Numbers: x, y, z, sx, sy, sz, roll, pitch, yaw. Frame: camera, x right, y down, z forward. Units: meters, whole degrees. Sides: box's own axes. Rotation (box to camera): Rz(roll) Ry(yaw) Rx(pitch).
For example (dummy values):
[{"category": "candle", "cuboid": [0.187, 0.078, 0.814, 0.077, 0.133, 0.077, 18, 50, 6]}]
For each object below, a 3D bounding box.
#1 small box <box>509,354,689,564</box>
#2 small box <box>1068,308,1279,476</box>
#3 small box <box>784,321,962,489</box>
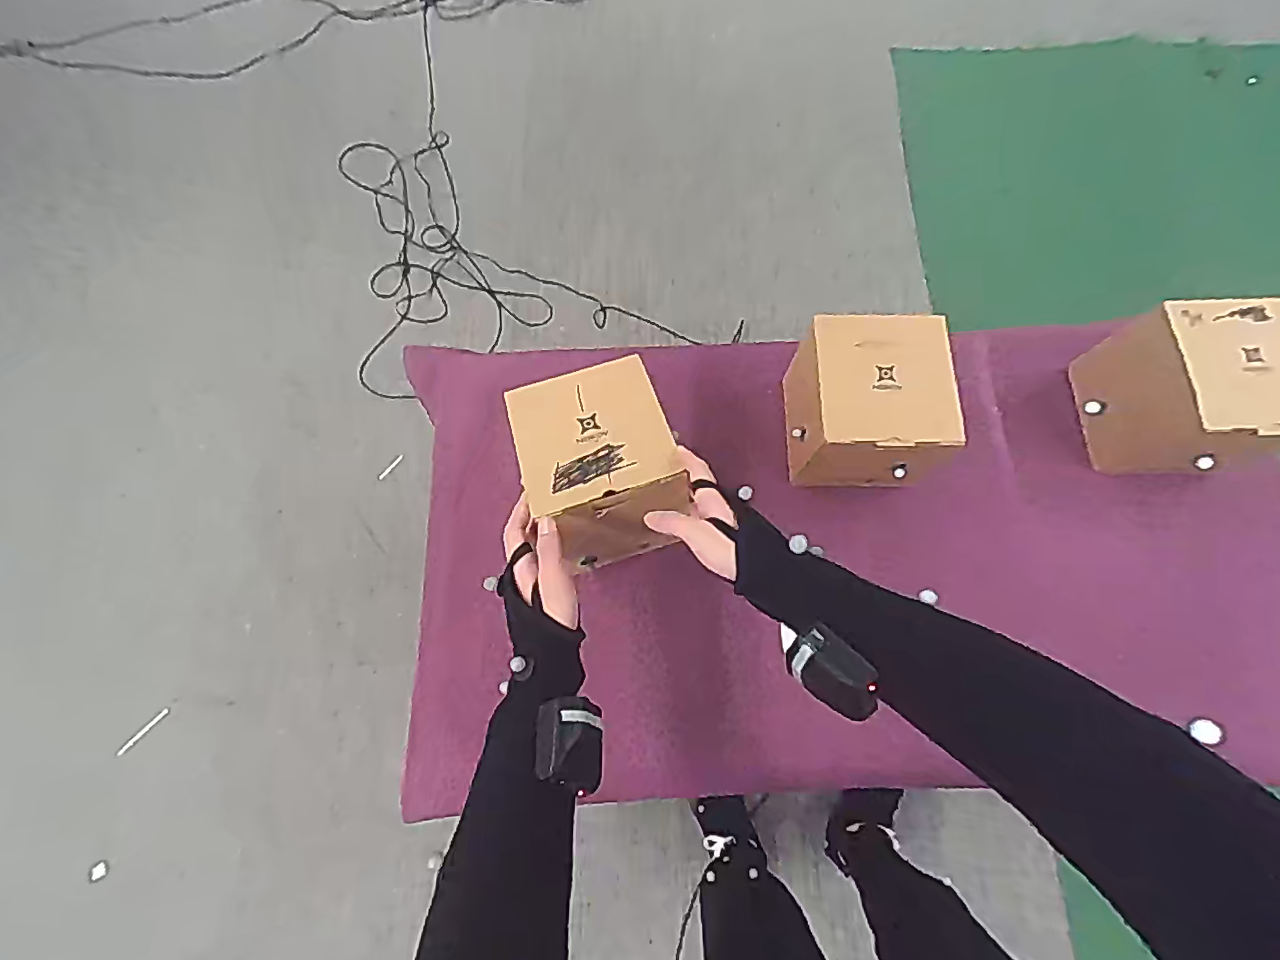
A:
[{"category": "small box", "cuboid": [-0.042, -0.014, 0.651, 0.168, 0.176, 0.179, -17, 60, -4]}, {"category": "small box", "cuboid": [0.724, -0.106, 0.720, 0.168, 0.176, 0.179, 0, 74, 2]}, {"category": "small box", "cuboid": [0.298, -0.092, 0.731, 0.168, 0.176, 0.179, 1, 71, 1]}]
